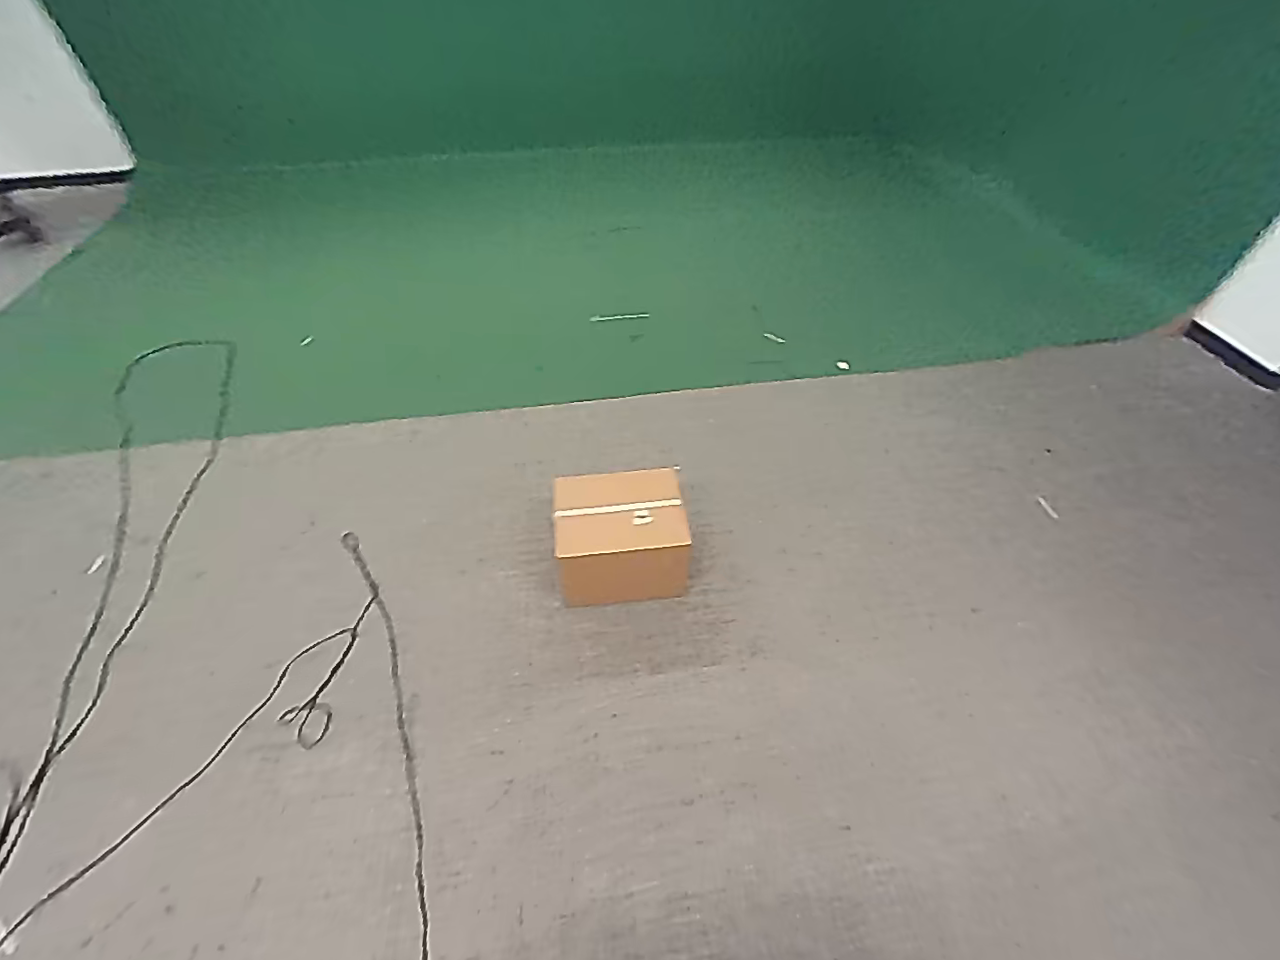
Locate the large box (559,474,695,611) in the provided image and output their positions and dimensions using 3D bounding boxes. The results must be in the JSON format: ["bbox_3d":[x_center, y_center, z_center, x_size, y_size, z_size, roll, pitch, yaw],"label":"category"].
[{"bbox_3d":[-0.051,0.209,1.797,0.408,0.320,0.320,-5,48,-4],"label":"large box"}]
